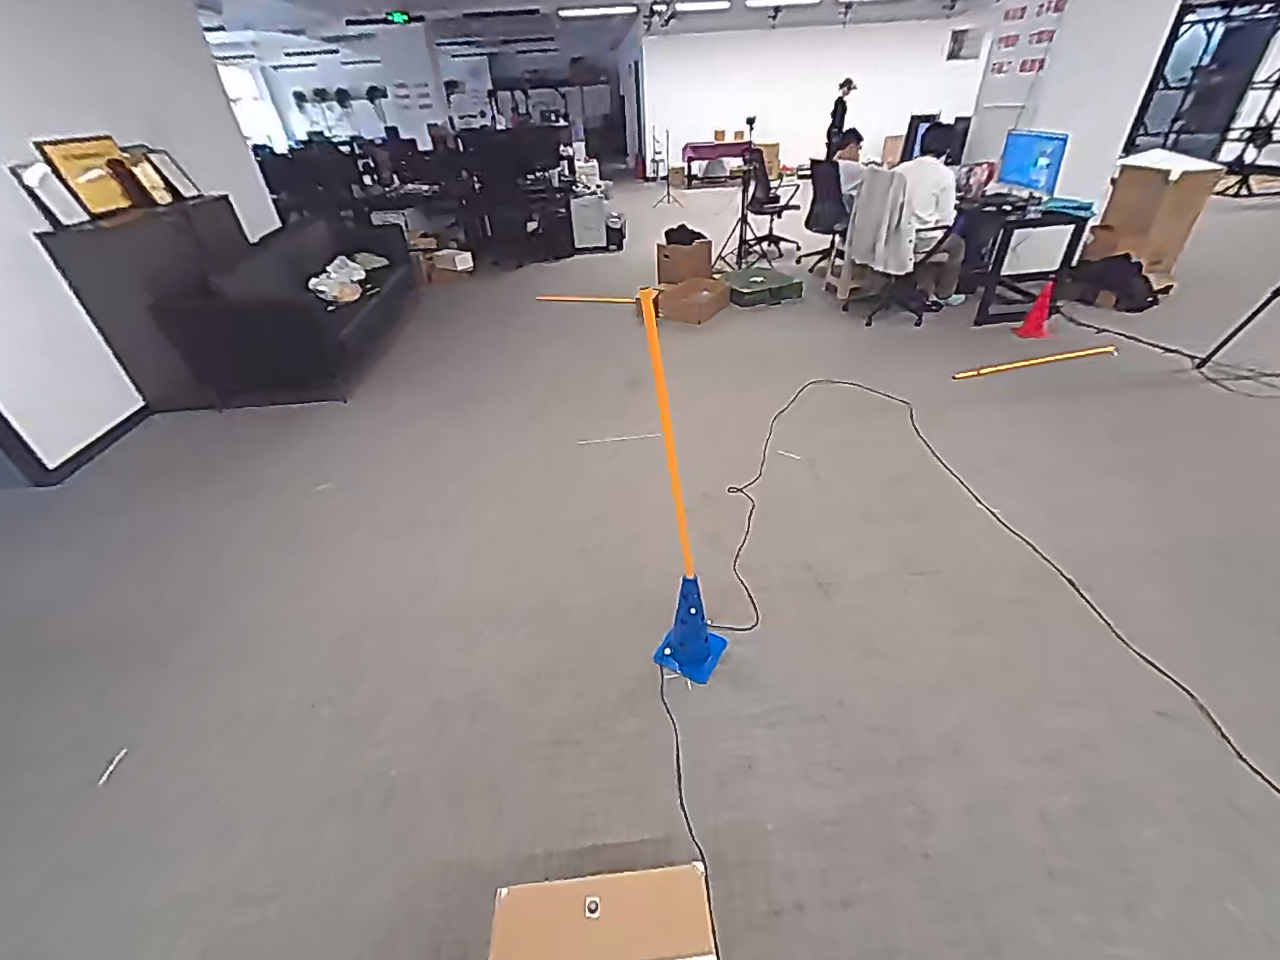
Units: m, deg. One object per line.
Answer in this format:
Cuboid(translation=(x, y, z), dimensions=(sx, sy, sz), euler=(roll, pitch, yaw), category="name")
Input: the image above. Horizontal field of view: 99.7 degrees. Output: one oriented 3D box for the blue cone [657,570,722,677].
Cuboid(translation=(0.157, 0.433, 1.721), dimensions=(0.192, 0.380, 0.193), euler=(14, 40, 25), category="blue cone")
